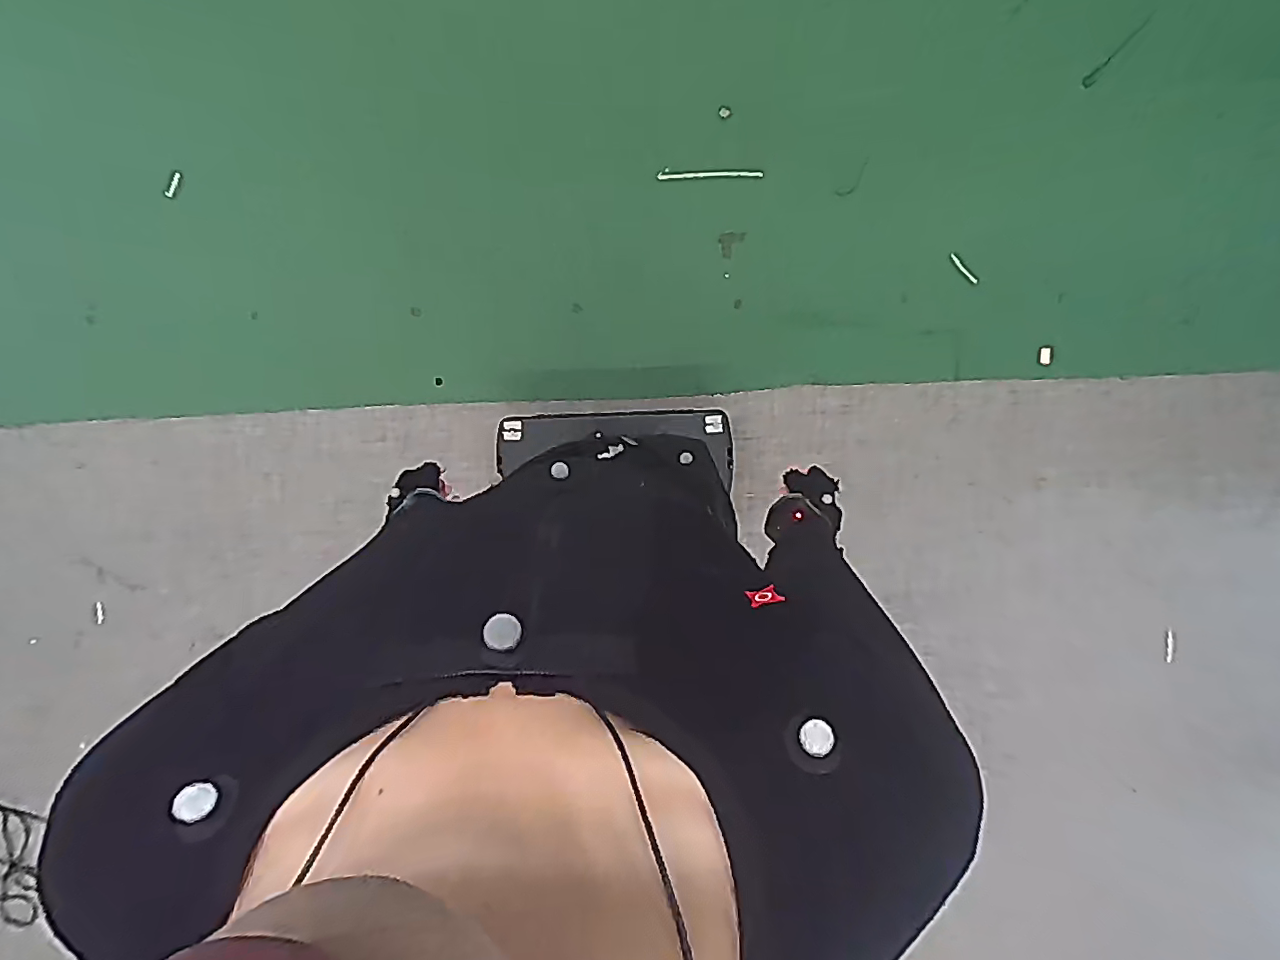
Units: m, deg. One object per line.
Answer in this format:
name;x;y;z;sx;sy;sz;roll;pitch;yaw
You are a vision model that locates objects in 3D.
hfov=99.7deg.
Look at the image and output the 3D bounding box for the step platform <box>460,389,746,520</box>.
step platform;-0.086;-0.069;1.380;0.684;0.204;0.286;-3;96;1
